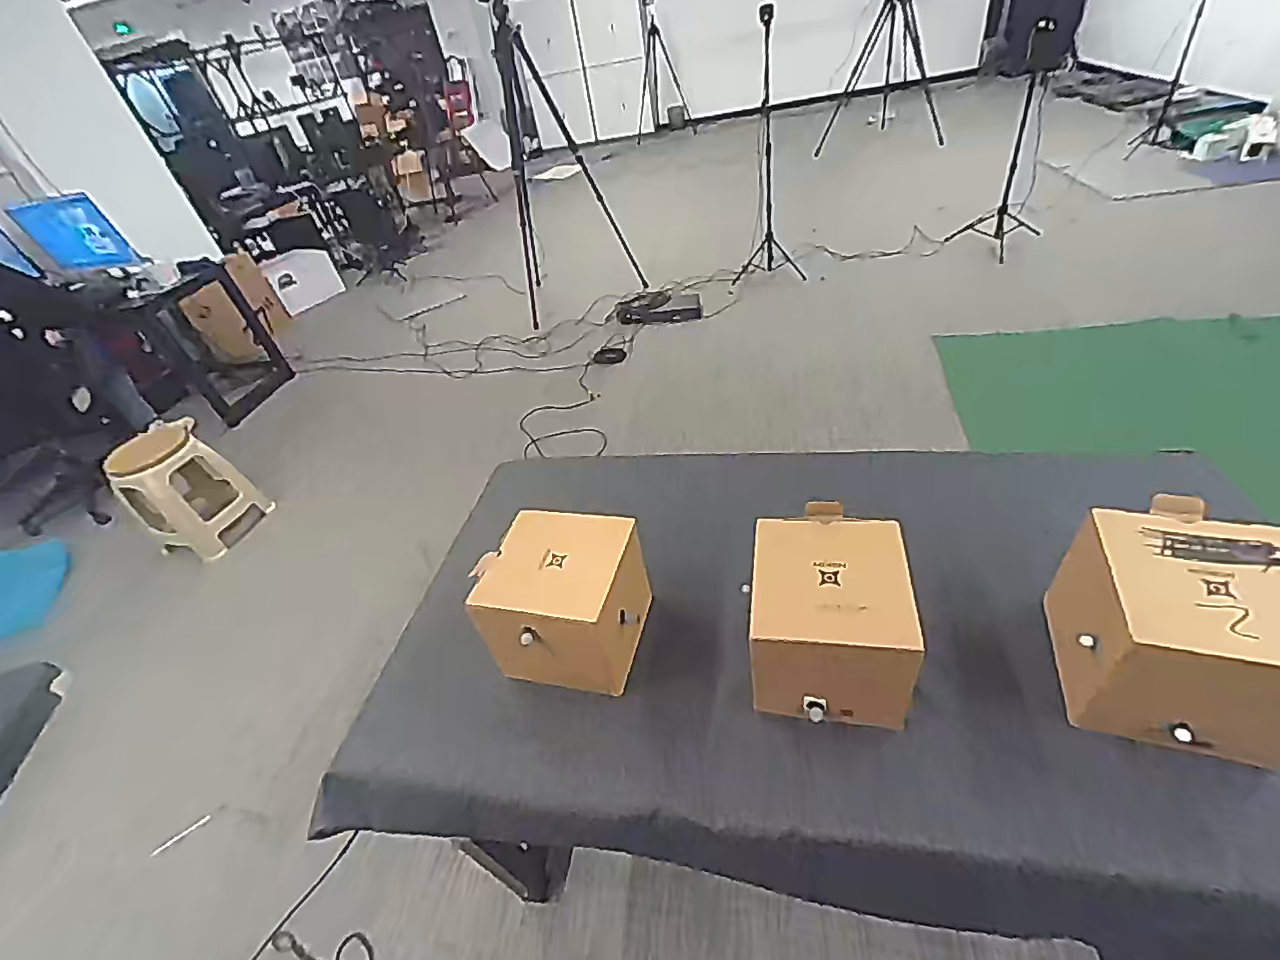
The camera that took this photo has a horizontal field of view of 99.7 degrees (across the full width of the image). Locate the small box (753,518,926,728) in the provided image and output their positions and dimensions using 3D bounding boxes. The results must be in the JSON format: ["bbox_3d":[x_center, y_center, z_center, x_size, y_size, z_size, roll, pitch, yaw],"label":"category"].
[{"bbox_3d":[0.222,0.165,0.645,0.168,0.176,0.179,-1,41,15],"label":"small box"}]

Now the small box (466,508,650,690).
[{"bbox_3d":[-0.094,0.159,0.728,0.179,0.176,0.168,3,42,17],"label":"small box"}]
